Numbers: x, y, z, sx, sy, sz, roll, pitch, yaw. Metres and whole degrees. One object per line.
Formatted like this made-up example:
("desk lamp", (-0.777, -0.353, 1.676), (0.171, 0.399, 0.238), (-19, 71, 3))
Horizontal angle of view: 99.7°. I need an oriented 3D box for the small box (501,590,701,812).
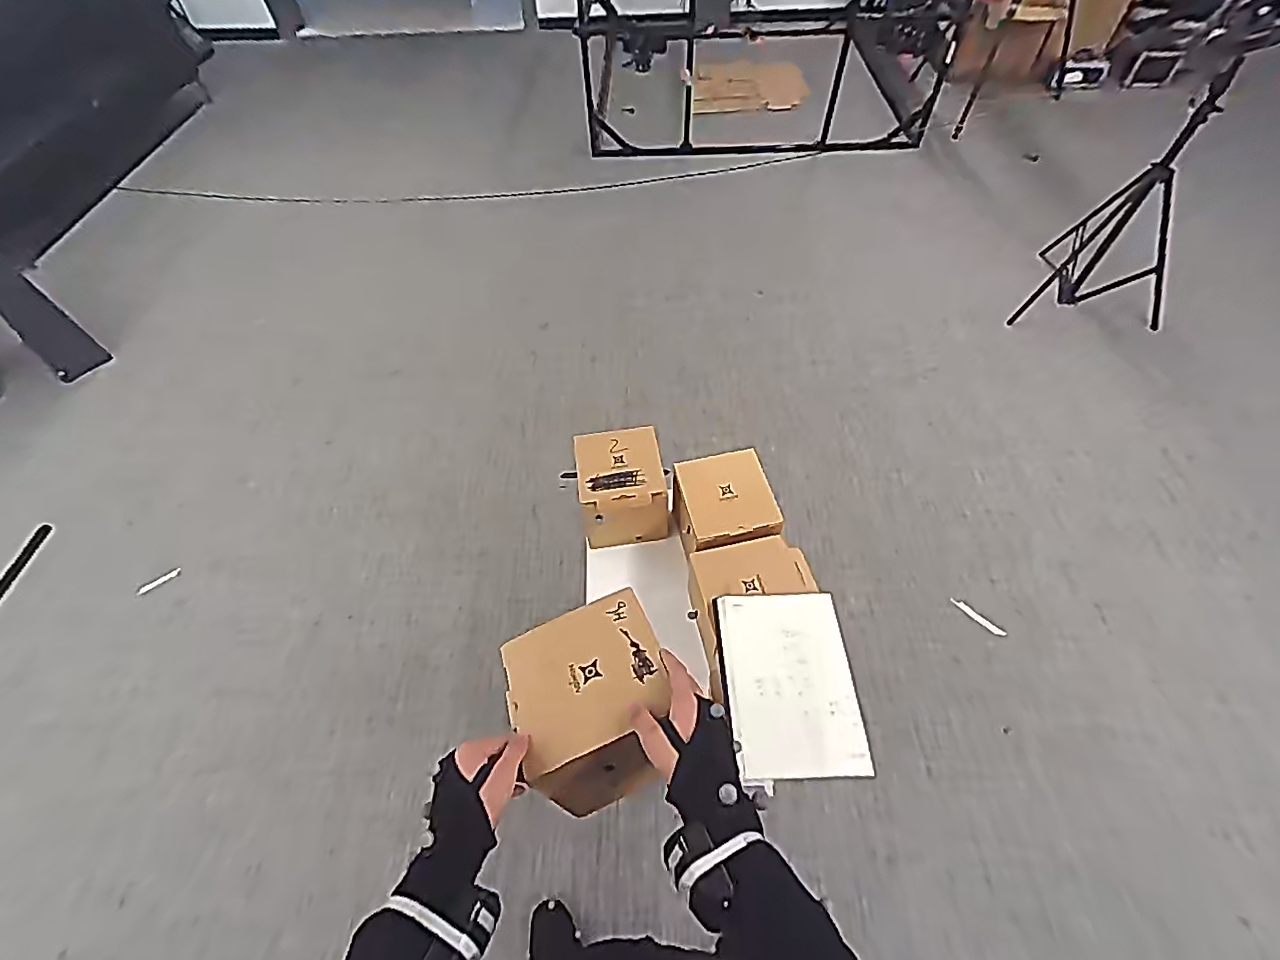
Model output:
("small box", (-0.044, 0.272, 0.658), (0.179, 0.176, 0.168), (-24, 46, -4))
